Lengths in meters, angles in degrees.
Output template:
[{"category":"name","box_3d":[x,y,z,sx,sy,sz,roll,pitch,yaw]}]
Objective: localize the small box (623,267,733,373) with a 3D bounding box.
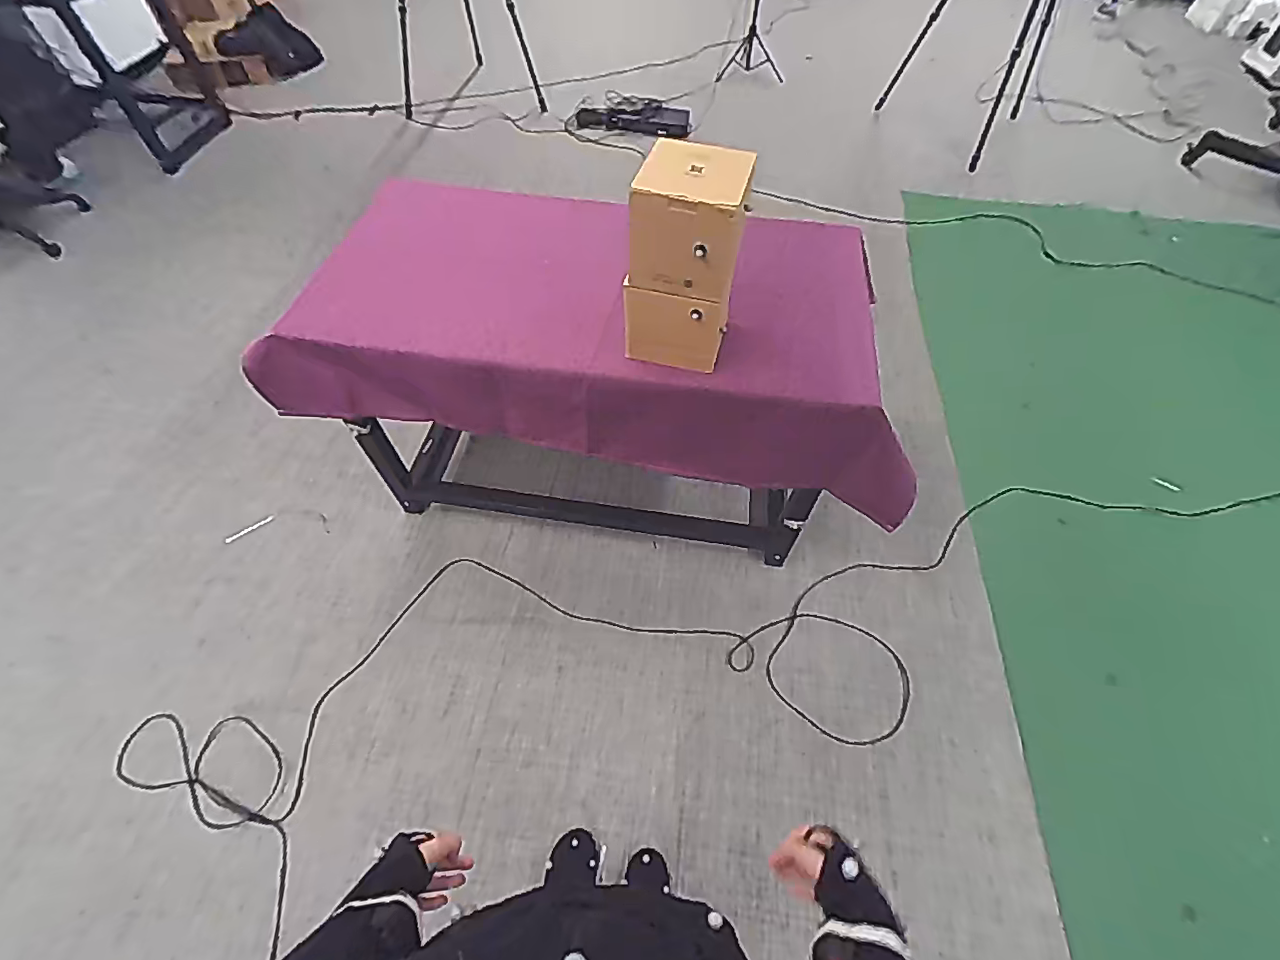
[{"category":"small box","box_3d":[0.072,-0.329,1.042,0.179,0.176,0.168,13,55,8]}]

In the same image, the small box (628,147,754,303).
[{"category":"small box","box_3d":[0.083,-0.425,0.911,0.168,0.176,0.179,15,55,8]}]
